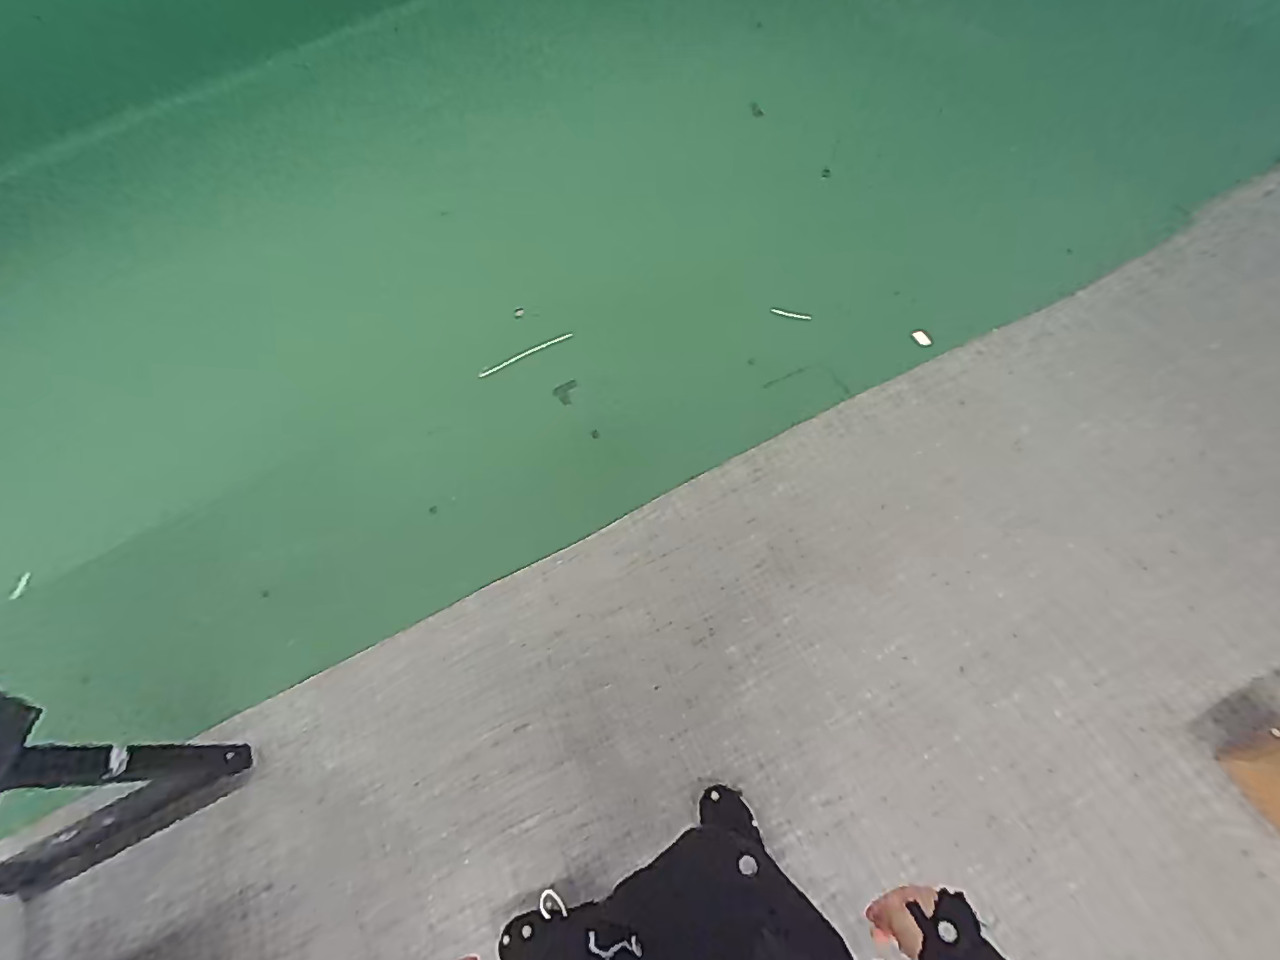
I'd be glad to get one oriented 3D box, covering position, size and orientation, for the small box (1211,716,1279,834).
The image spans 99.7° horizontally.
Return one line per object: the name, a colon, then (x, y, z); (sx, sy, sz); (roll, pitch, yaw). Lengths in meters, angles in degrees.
small box: (1.190, 0.525, 0.938); (0.168, 0.176, 0.179); (-27, 63, -5)
